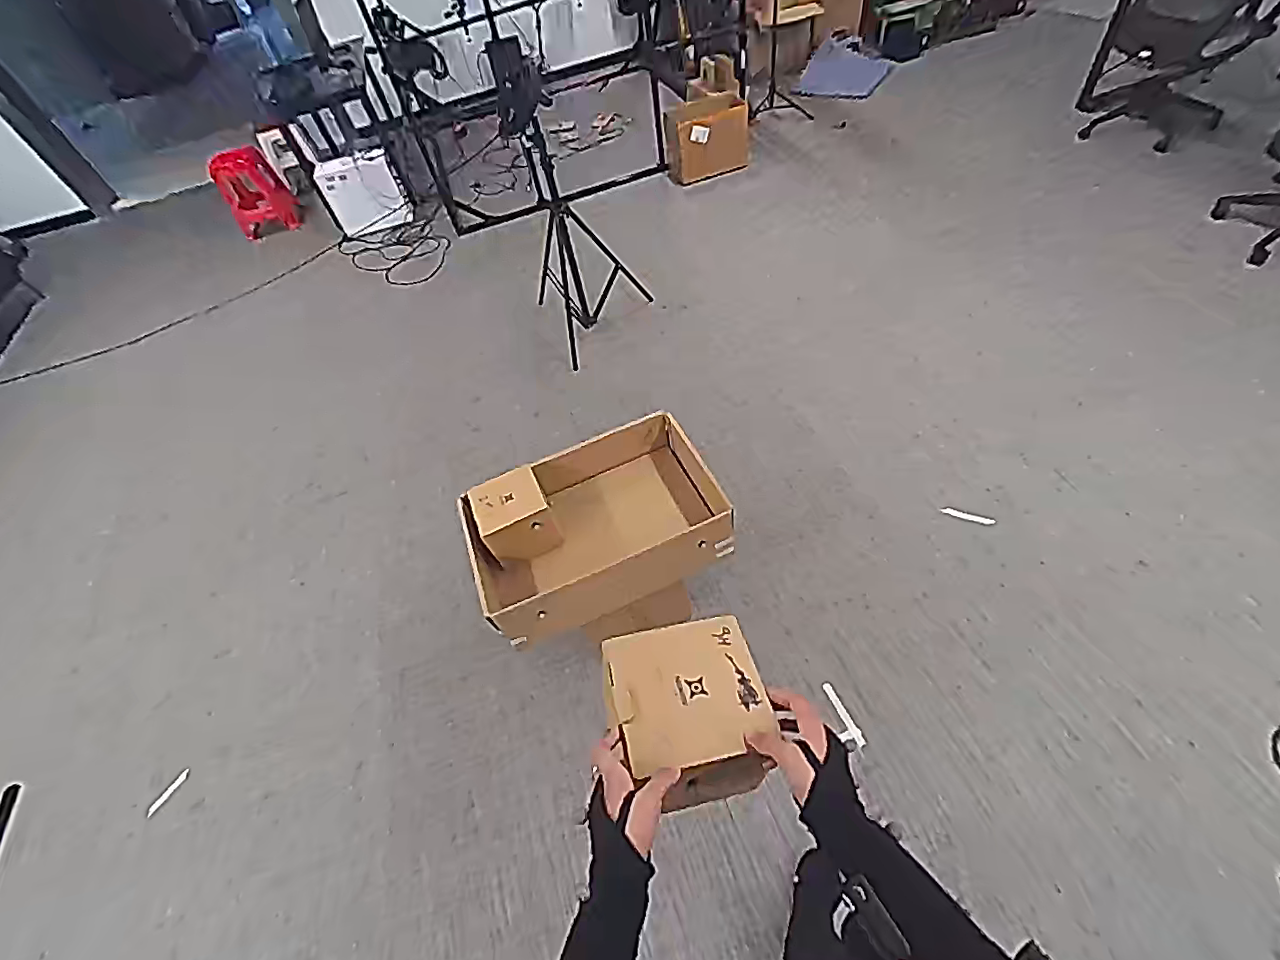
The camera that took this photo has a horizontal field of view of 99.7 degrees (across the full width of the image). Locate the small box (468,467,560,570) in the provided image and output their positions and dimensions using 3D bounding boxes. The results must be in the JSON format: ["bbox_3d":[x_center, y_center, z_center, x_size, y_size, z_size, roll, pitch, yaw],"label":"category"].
[{"bbox_3d":[-0.320,0.103,1.408,0.179,0.176,0.168,-25,51,-8],"label":"small box"}]

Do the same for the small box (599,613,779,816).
[{"bbox_3d":[0.051,0.297,0.682,0.179,0.176,0.168,-9,46,-10],"label":"small box"}]
